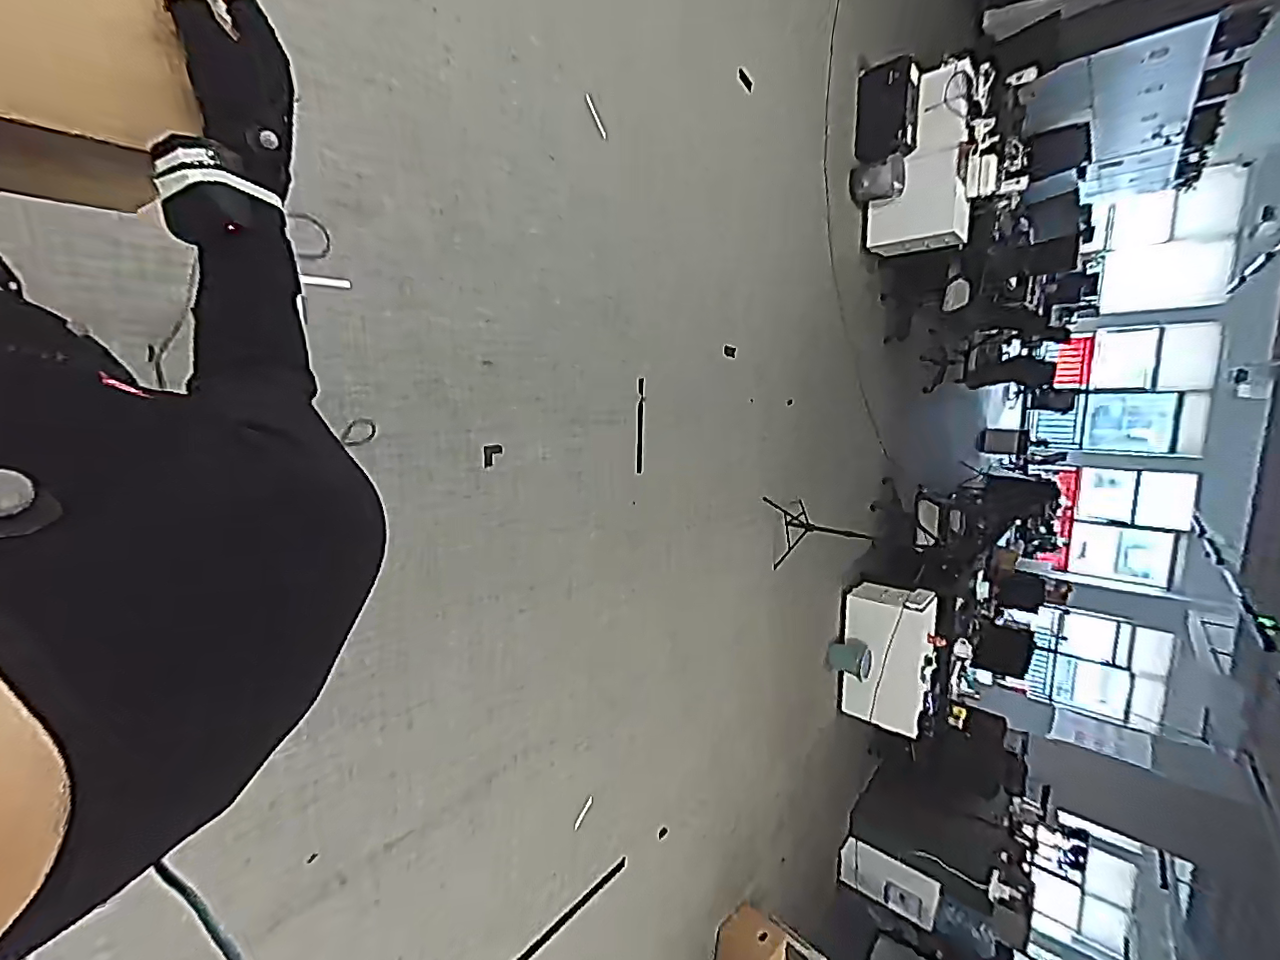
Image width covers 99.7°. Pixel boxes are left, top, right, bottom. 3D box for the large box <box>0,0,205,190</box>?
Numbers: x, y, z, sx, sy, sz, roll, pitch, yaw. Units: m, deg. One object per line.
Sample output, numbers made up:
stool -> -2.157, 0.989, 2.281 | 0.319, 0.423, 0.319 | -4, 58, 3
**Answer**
large box -> -0.589, -0.414, 0.342 | 0.408, 0.320, 0.320 | -15, 113, -50
